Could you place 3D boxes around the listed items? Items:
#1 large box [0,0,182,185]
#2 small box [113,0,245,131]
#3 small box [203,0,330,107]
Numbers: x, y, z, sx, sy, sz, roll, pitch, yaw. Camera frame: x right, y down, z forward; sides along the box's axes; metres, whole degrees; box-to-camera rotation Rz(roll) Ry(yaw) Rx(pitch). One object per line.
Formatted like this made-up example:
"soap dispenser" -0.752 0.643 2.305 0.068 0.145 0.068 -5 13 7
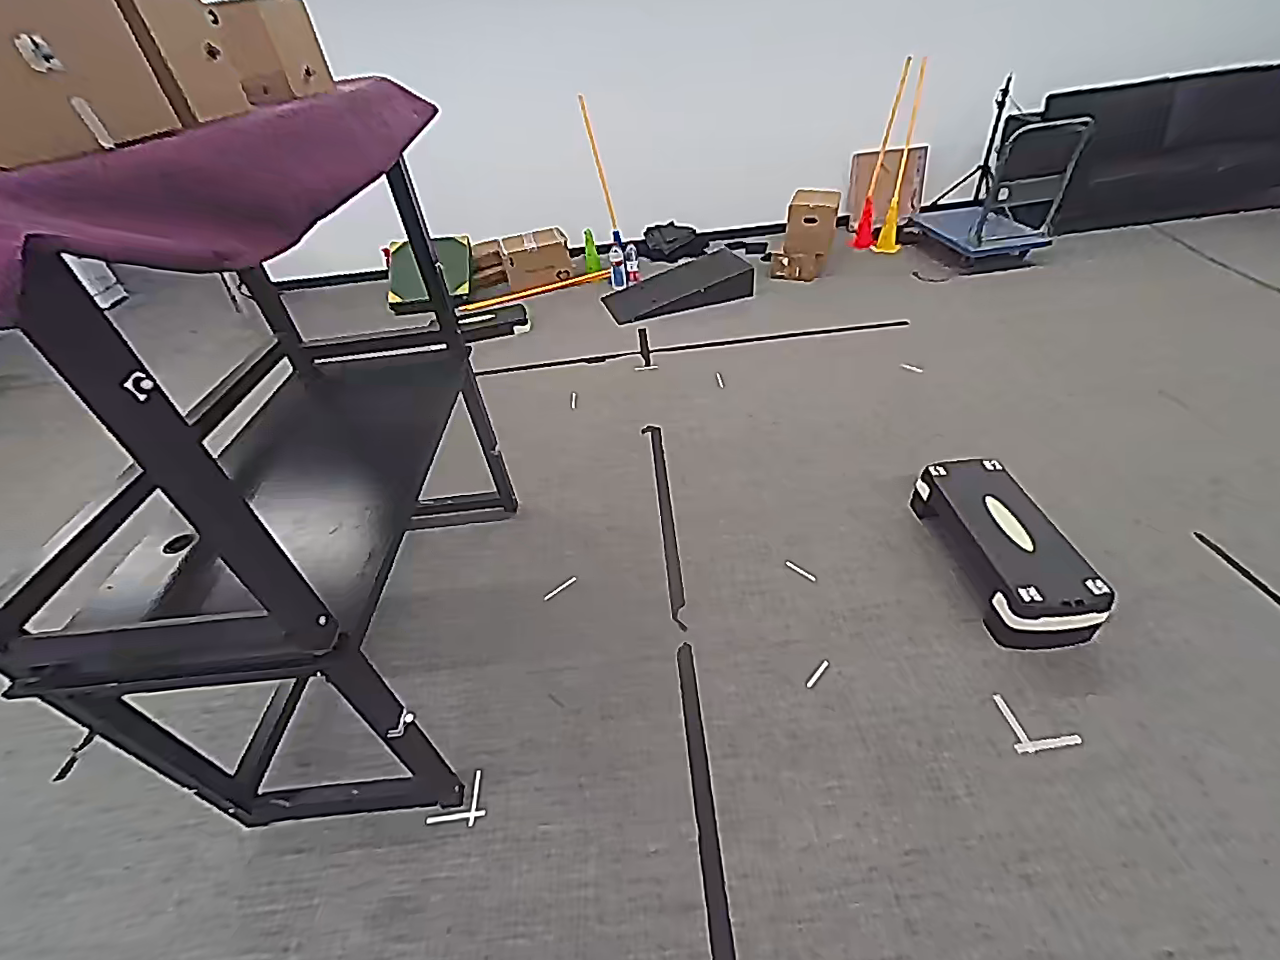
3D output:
"large box" -0.848 -0.489 0.568 0.408 0.320 0.320 -7 39 2
"small box" -0.803 -0.679 0.889 0.168 0.176 0.179 -7 40 2
"small box" -0.817 -0.928 1.181 0.168 0.176 0.179 0 41 9
